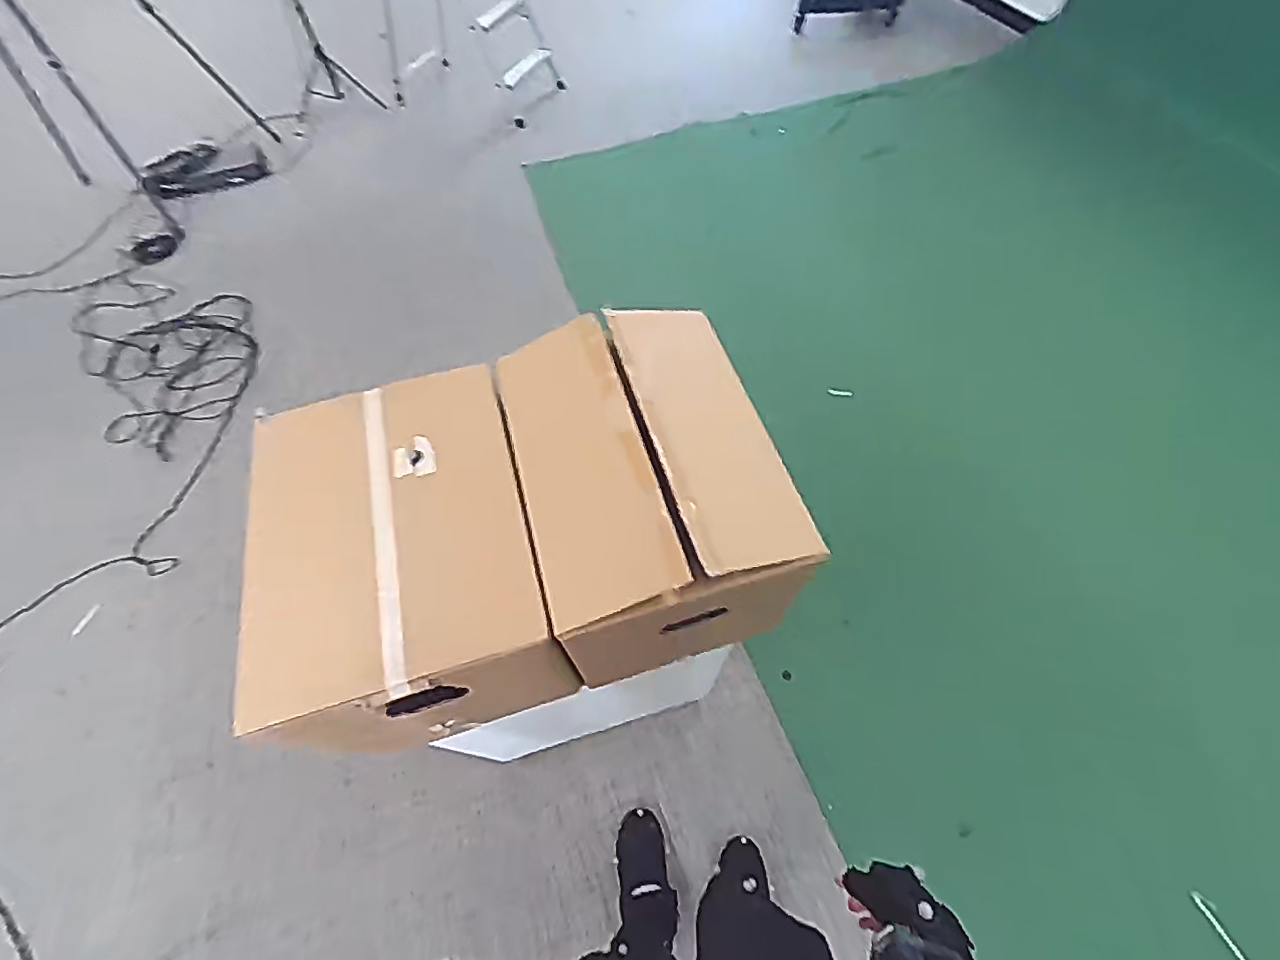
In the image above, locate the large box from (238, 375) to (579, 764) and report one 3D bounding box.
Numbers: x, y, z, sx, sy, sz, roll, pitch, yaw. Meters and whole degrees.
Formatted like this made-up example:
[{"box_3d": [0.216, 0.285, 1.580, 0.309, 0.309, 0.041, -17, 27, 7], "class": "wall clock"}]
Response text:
[{"box_3d": [-0.301, 0.130, 0.770, 0.320, 0.320, 0.408, -16, 58, -8], "class": "large box"}]
